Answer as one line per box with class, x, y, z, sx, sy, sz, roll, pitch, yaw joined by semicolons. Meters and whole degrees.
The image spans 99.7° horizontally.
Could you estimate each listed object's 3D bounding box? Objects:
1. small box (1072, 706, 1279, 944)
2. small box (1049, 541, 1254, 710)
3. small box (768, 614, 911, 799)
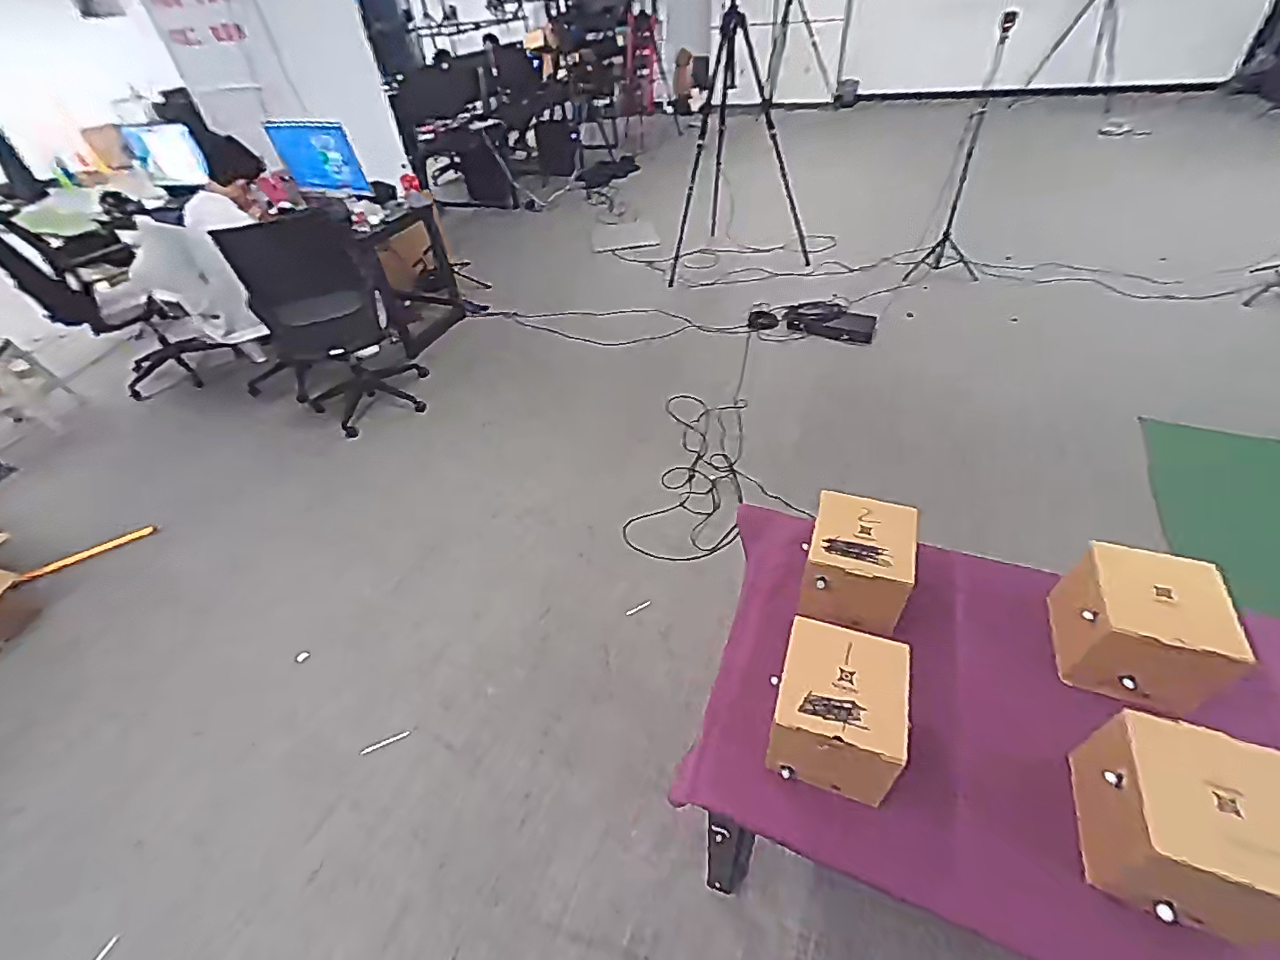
small box;0.673;0.424;0.670;0.168;0.176;0.179;13;46;21
small box;0.790;0.230;0.864;0.168;0.176;0.179;12;47;18
small box;0.290;0.336;0.802;0.168;0.176;0.179;12;44;18
